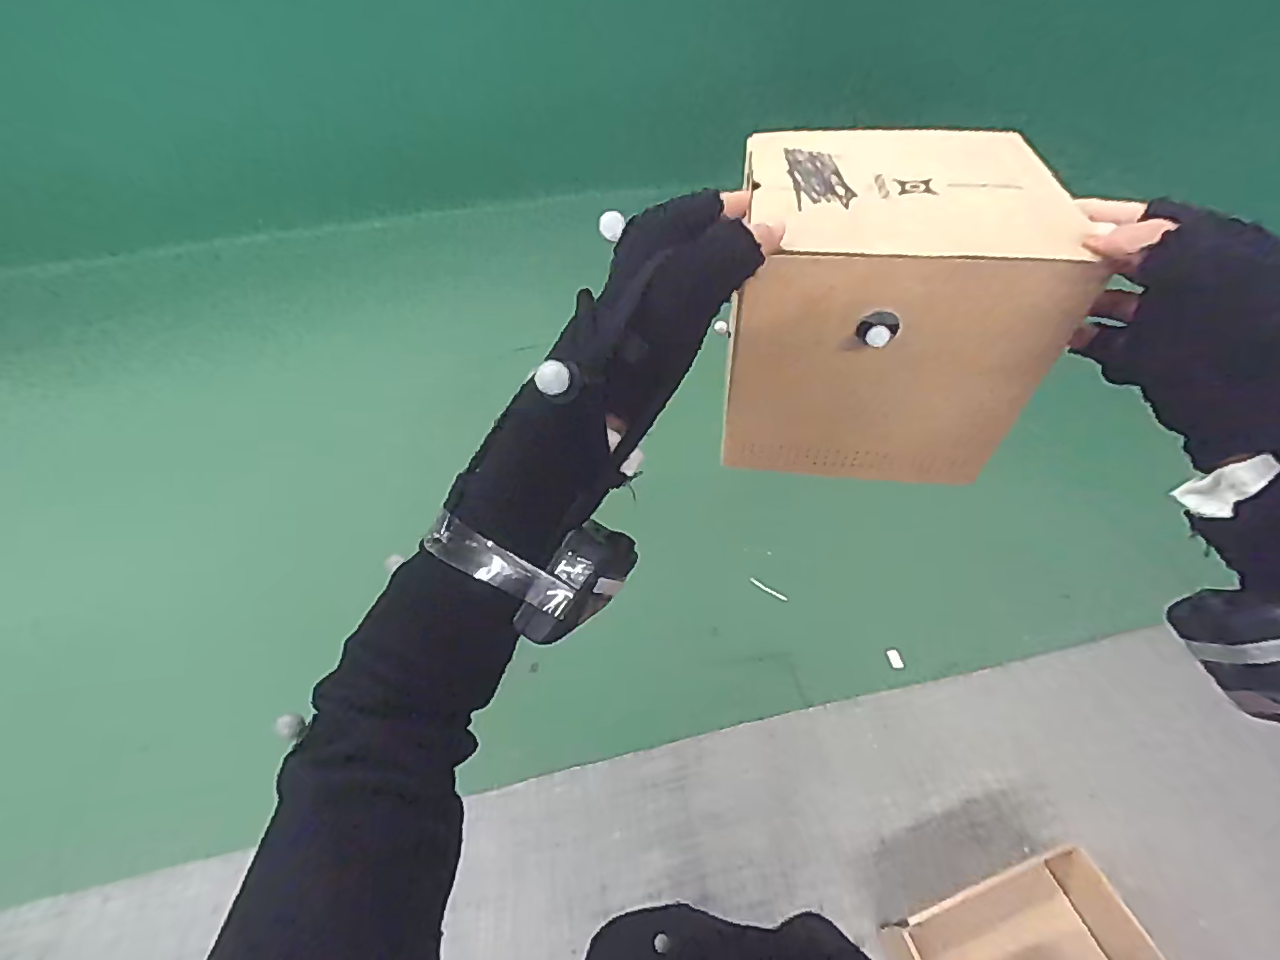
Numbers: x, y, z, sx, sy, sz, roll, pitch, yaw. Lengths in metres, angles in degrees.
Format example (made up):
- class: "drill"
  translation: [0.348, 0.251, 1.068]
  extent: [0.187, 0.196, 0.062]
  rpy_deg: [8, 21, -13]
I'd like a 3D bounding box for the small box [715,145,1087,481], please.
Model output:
- class: "small box"
  translation: [0.148, -0.115, 0.385]
  extent: [0.179, 0.176, 0.168]
  rpy_deg: [5, 51, 6]
